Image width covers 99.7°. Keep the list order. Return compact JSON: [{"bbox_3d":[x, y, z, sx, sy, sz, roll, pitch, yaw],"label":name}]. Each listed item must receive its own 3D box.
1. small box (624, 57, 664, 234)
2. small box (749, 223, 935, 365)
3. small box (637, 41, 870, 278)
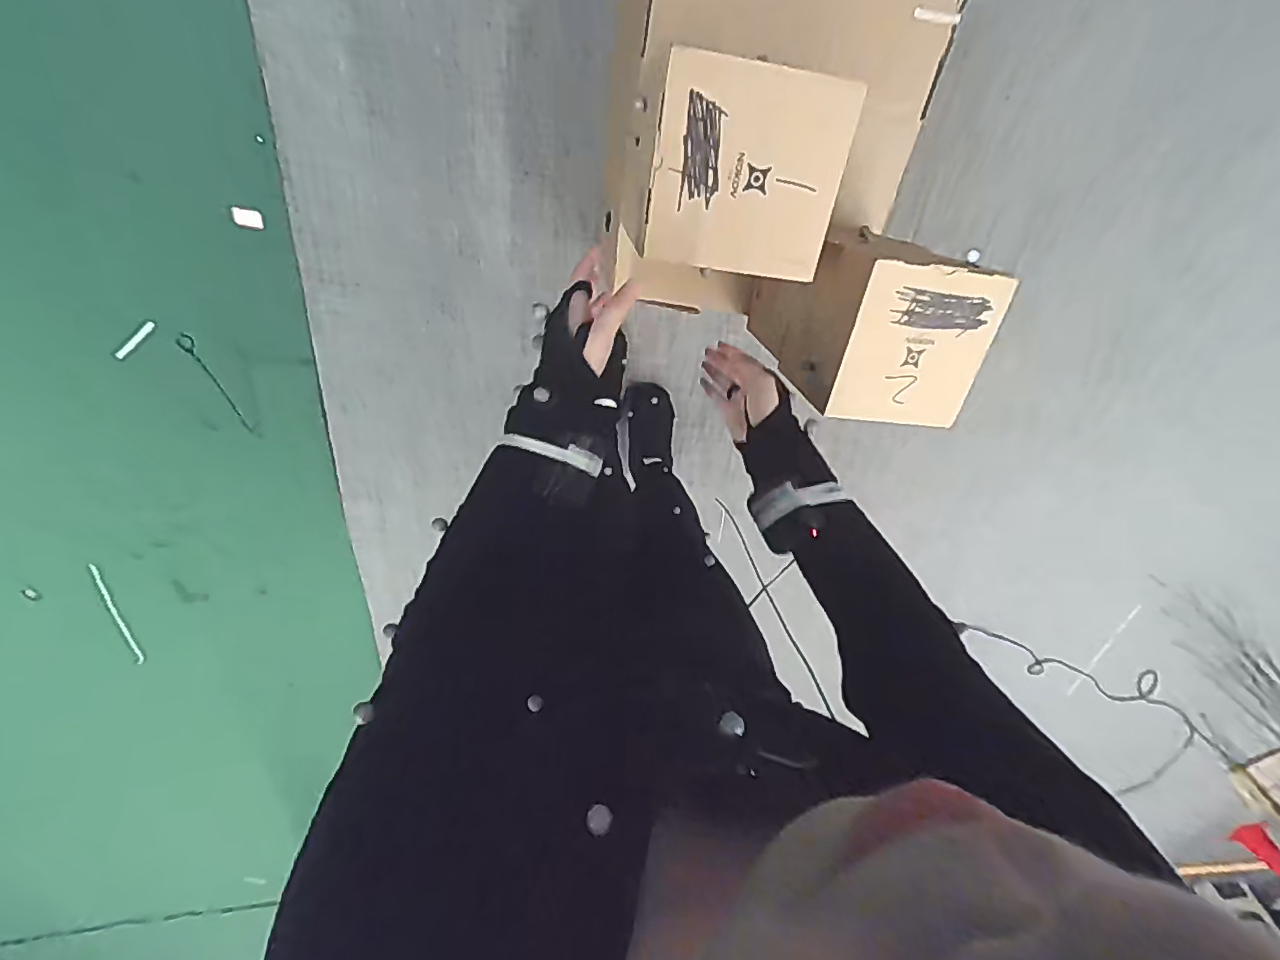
[{"bbox_3d":[0.073,-0.405,0.693,0.168,0.176,0.179,5,119,-8],"label":"small box"},{"bbox_3d":[0.279,-0.279,0.791,0.179,0.176,0.168,3,120,-8],"label":"small box"},{"bbox_3d":[0.093,-0.316,0.553,0.179,0.176,0.168,4,120,-7],"label":"small box"}]
